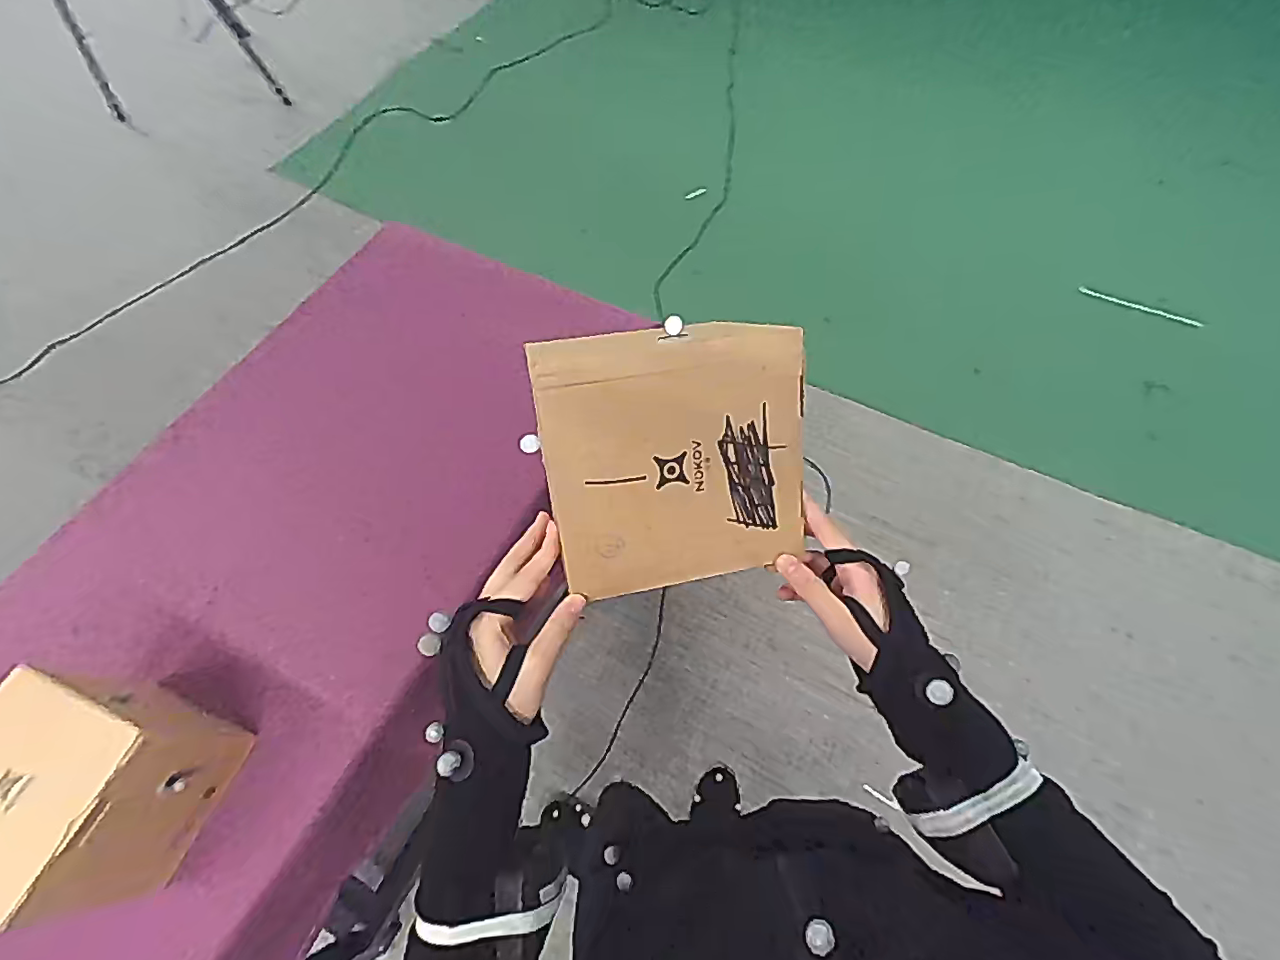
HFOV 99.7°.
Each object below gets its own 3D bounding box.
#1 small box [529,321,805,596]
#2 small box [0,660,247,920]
[{"bbox_3d":[0.011,-0.034,0.431,0.179,0.168,0.176,-8,19,-9],"label":"small box"},{"bbox_3d":[-0.583,0.313,0.576,0.179,0.176,0.168,19,65,13],"label":"small box"}]
